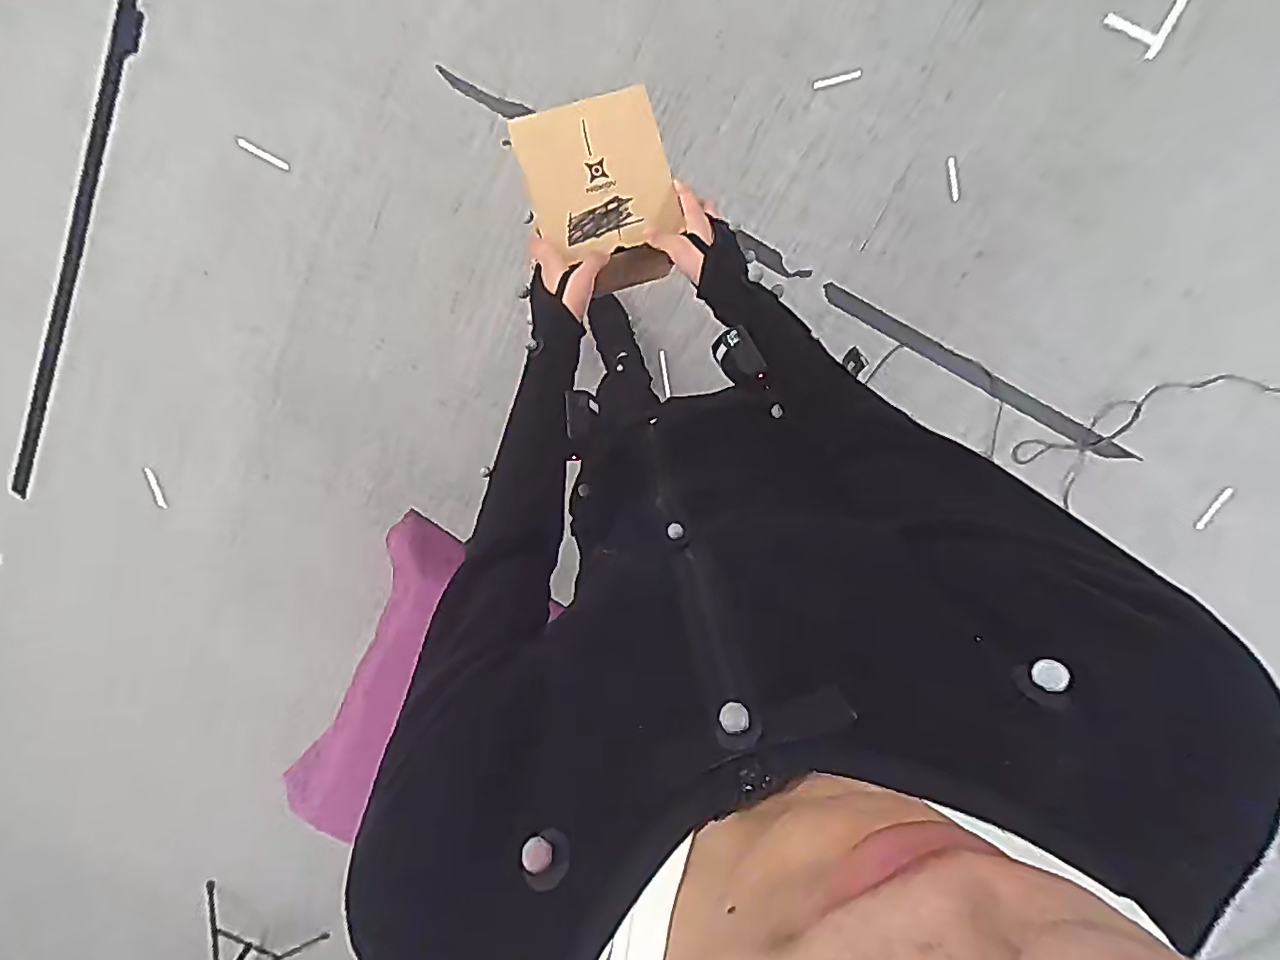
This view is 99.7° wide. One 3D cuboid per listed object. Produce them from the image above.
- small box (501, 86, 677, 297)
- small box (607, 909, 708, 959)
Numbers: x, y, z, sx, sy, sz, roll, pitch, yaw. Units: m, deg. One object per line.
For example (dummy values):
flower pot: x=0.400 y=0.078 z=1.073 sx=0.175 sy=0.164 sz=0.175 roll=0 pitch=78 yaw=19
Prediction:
small box: x=-0.061 y=-0.349 z=0.696 sx=0.168 sy=0.176 sz=0.179 roll=-17 pitch=96 yaw=-3
small box: x=0.028 y=0.983 z=1.028 sx=0.168 sy=0.176 sz=0.179 roll=30 pitch=103 yaw=-3
